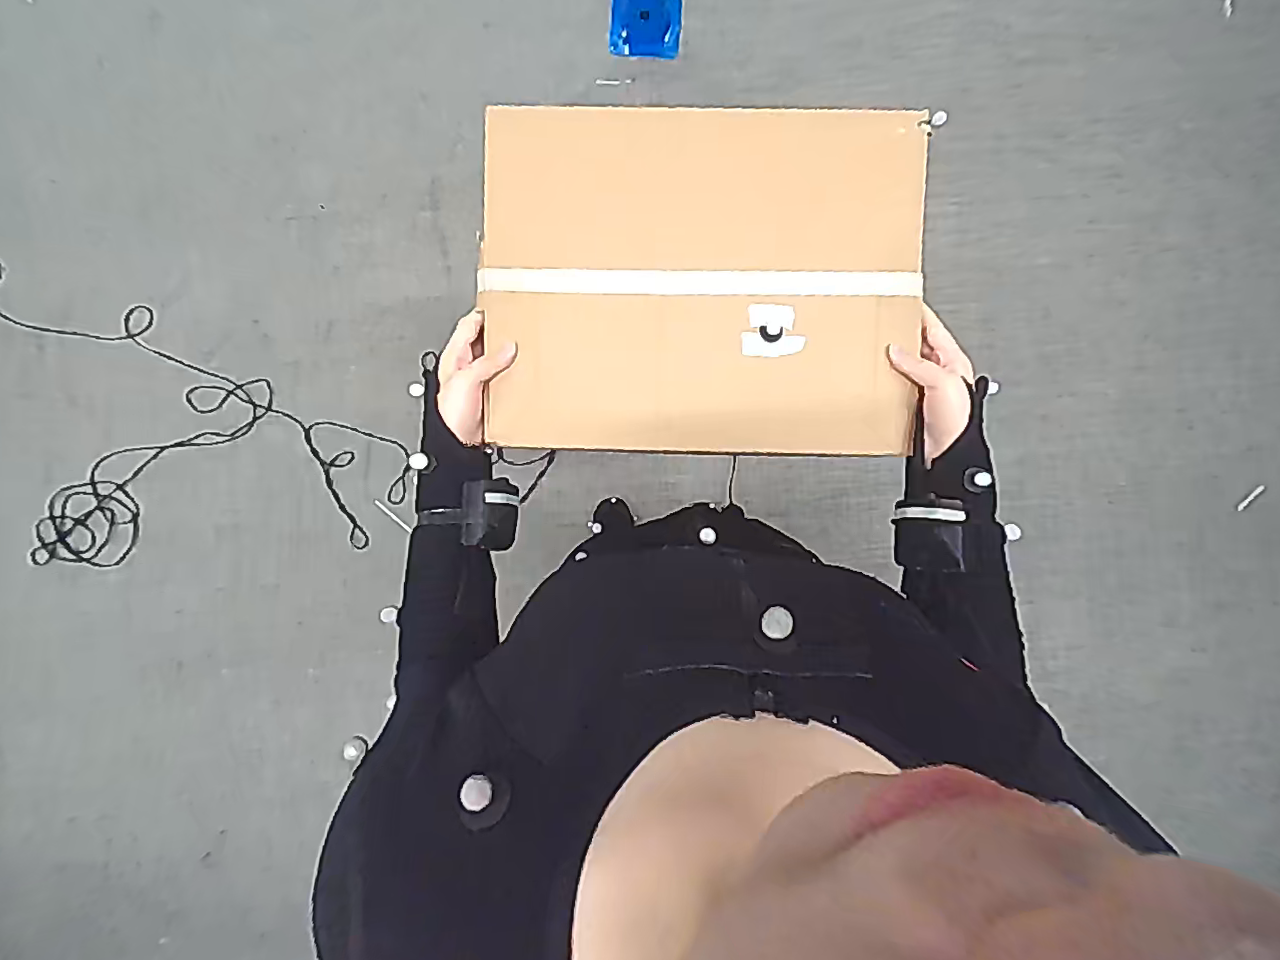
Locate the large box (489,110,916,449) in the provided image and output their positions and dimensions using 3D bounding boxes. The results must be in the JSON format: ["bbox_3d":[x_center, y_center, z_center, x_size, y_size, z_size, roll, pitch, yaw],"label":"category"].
[{"bbox_3d":[0.056,-0.196,0.656,0.408,0.320,0.320,1,94,0],"label":"large box"}]

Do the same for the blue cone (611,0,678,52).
[{"bbox_3d":[0.011,-1.332,1.392,0.193,0.380,0.192,5,88,0],"label":"blue cone"}]
